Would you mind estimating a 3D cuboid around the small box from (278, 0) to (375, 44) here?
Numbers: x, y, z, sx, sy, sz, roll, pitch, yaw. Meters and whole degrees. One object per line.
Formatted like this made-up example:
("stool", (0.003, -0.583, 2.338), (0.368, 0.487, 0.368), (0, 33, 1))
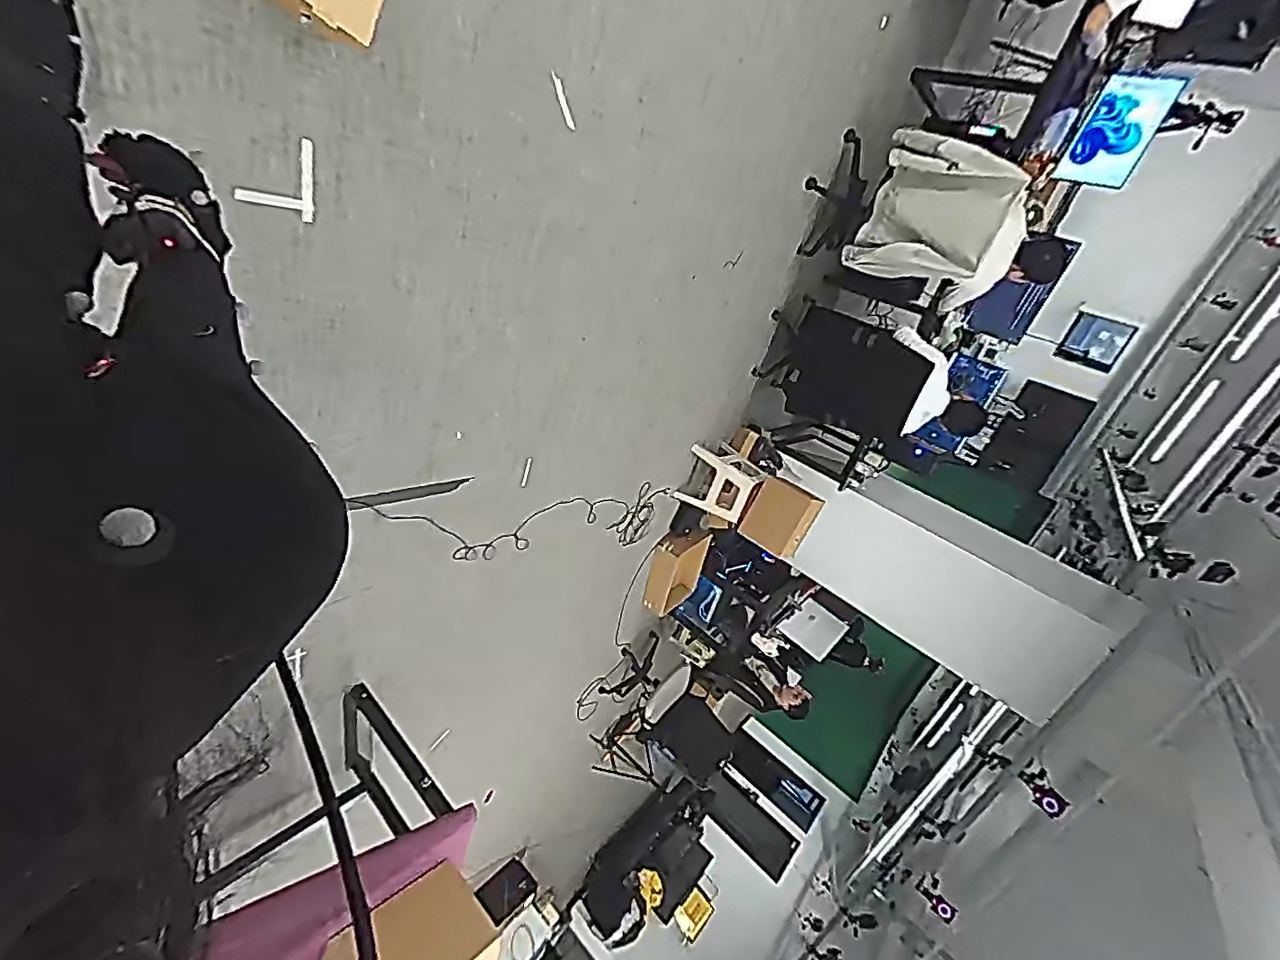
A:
("small box", (-0.616, -0.978, 1.019), (0.168, 0.176, 0.179), (7, 114, -59))
